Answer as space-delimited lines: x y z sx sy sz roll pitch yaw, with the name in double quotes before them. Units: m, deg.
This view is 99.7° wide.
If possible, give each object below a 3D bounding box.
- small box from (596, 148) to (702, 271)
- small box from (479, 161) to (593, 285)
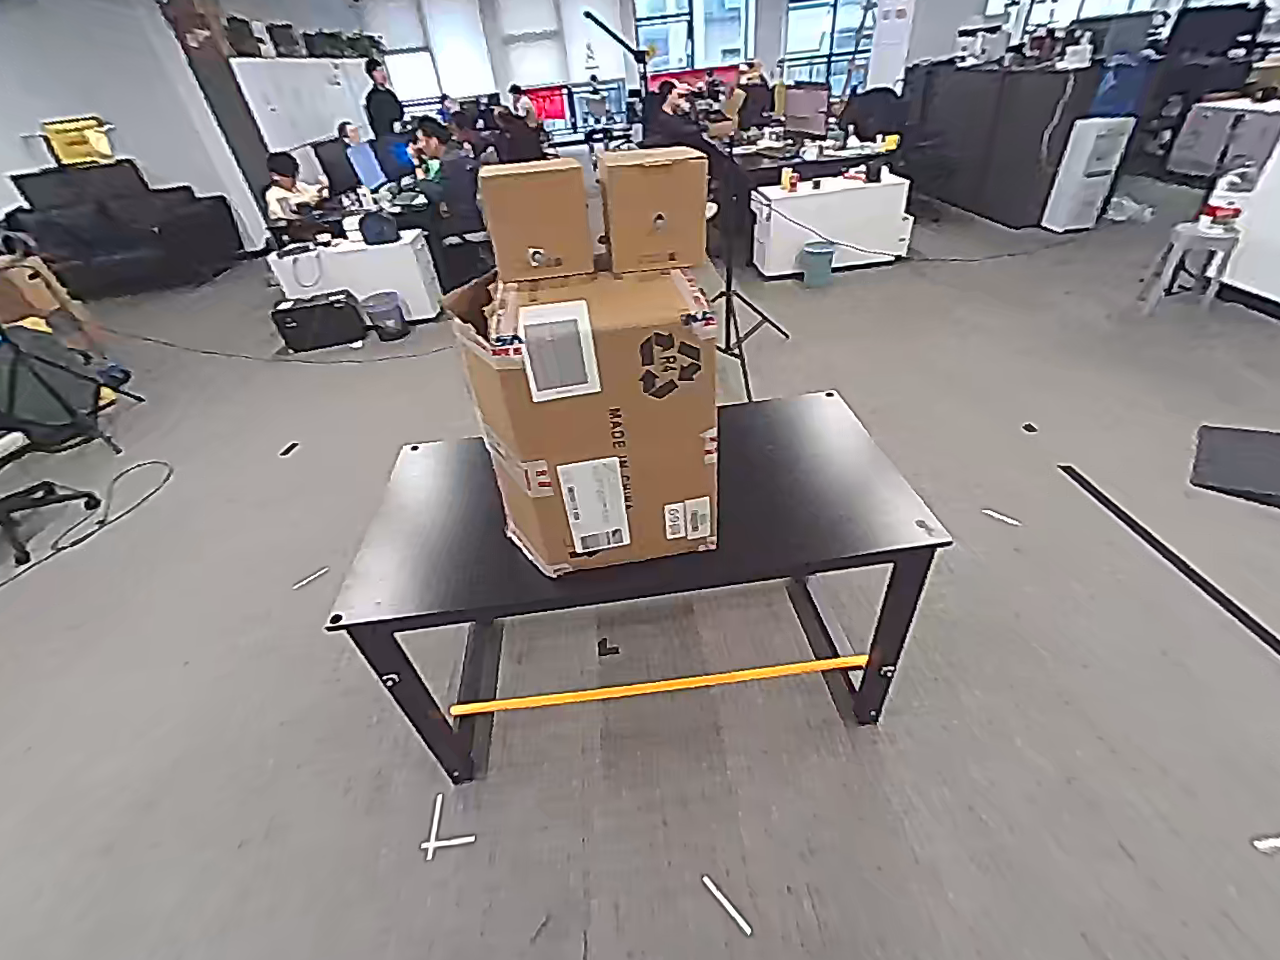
"small box" 0.015 -0.483 0.972 0.168 0.176 0.179 -7 38 -5
"small box" -0.183 -0.462 0.971 0.168 0.176 0.179 -11 37 -7
